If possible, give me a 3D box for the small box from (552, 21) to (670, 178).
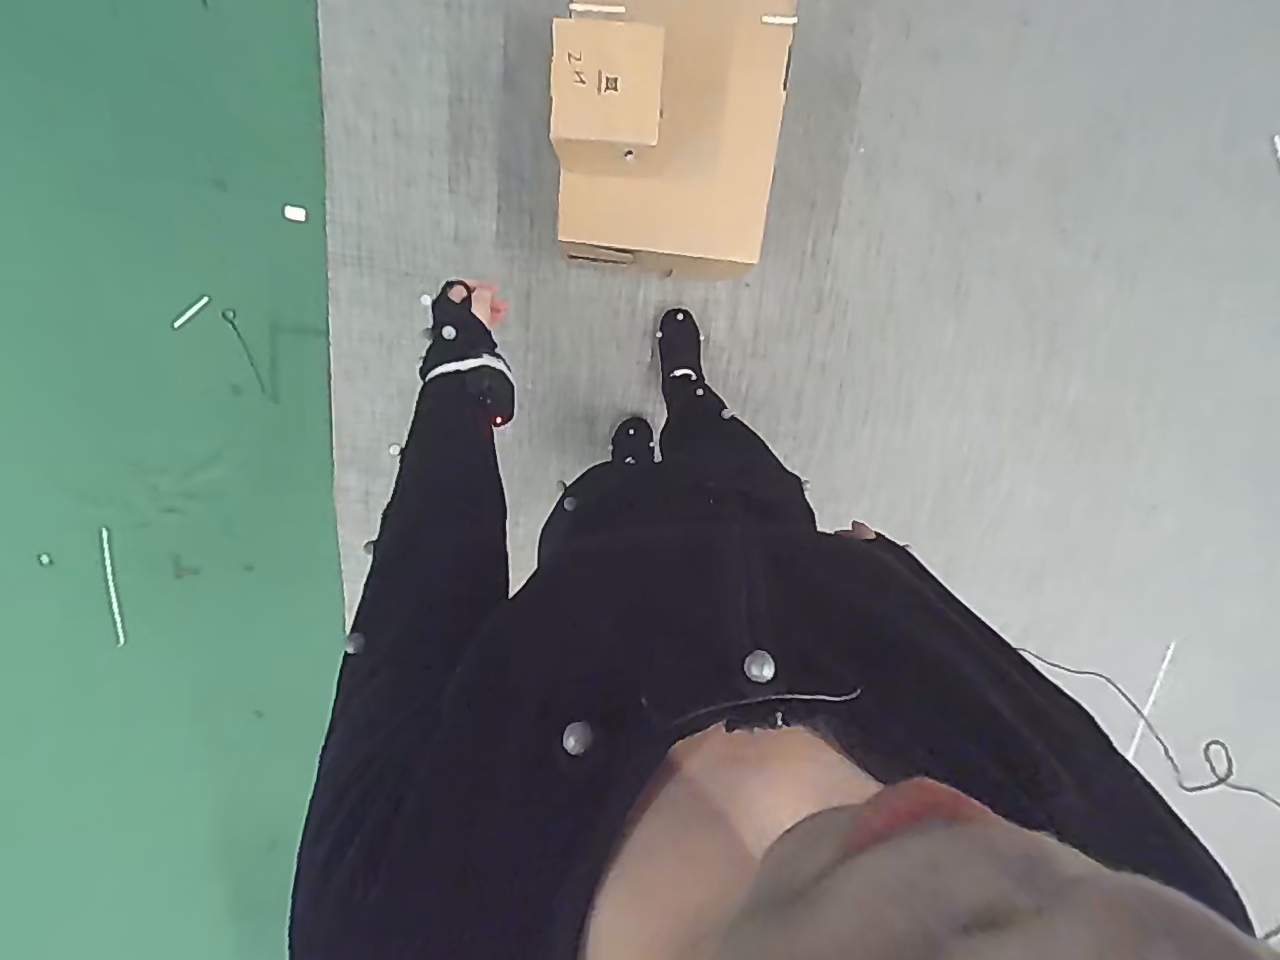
[{"bbox_3d":[-0.048,-0.634,0.924,0.179,0.176,0.168,4,103,-1],"label":"small box"}]
